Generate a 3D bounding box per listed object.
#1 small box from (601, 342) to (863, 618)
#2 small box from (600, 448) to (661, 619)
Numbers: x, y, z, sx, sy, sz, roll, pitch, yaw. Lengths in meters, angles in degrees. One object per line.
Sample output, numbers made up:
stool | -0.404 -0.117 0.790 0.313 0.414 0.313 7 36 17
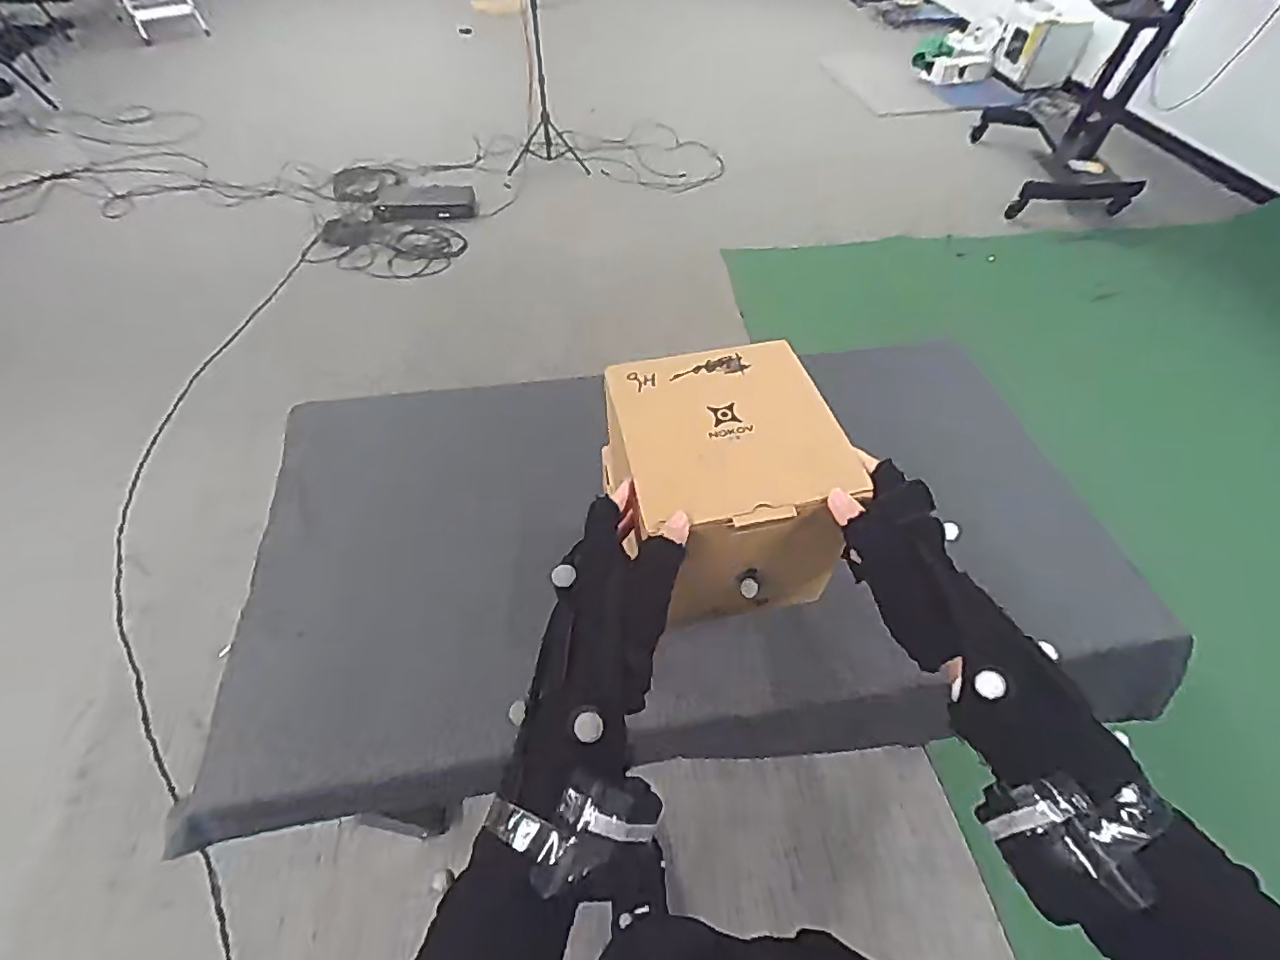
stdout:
small box | 0.064 0.008 0.481 0.168 0.176 0.179 -10 53 -6
small box | 0.046 0.064 0.694 0.179 0.176 0.168 -7 55 -8
